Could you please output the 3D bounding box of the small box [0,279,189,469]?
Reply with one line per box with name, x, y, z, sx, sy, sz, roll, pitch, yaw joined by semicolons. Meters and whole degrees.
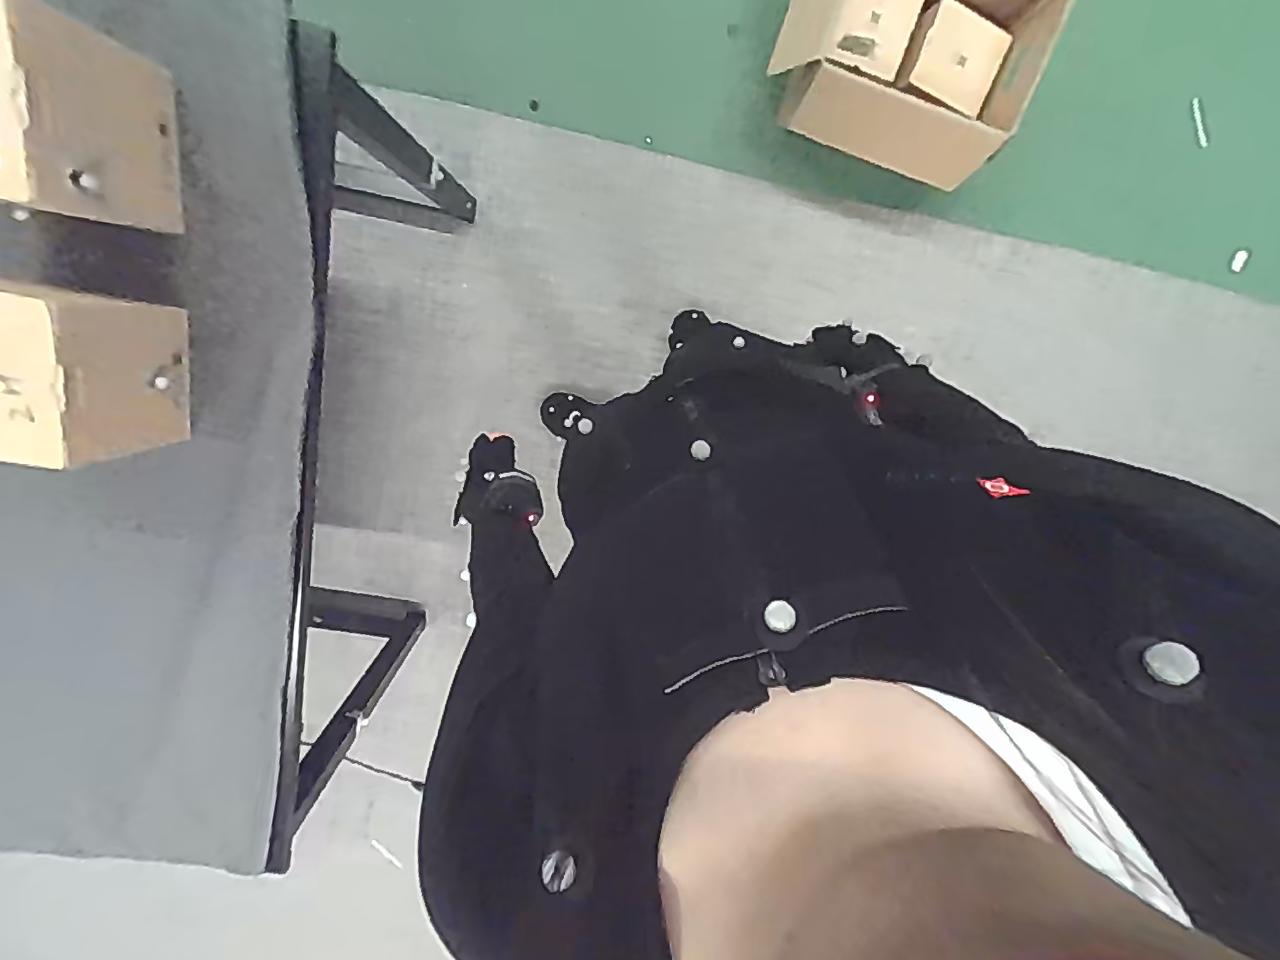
small box;-0.643;-0.122;0.586;0.179;0.176;0.168;10;105;-5
